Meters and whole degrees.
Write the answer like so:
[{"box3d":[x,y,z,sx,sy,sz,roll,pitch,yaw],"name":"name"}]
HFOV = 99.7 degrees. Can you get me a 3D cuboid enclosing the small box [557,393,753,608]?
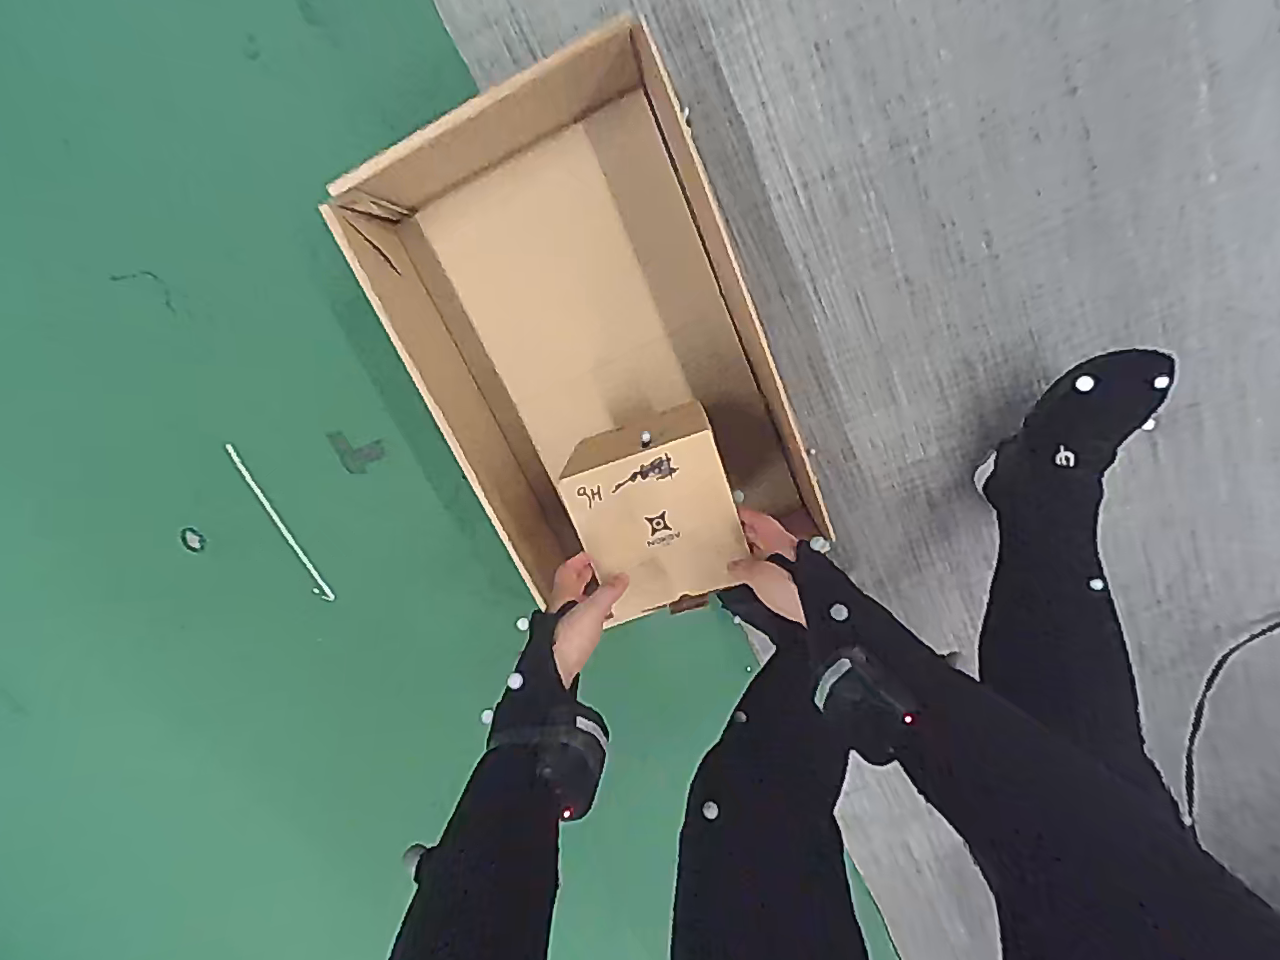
[{"box3d":[0.021,0.016,0.636,0.168,0.176,0.179,-18,108,7],"name":"small box"}]
